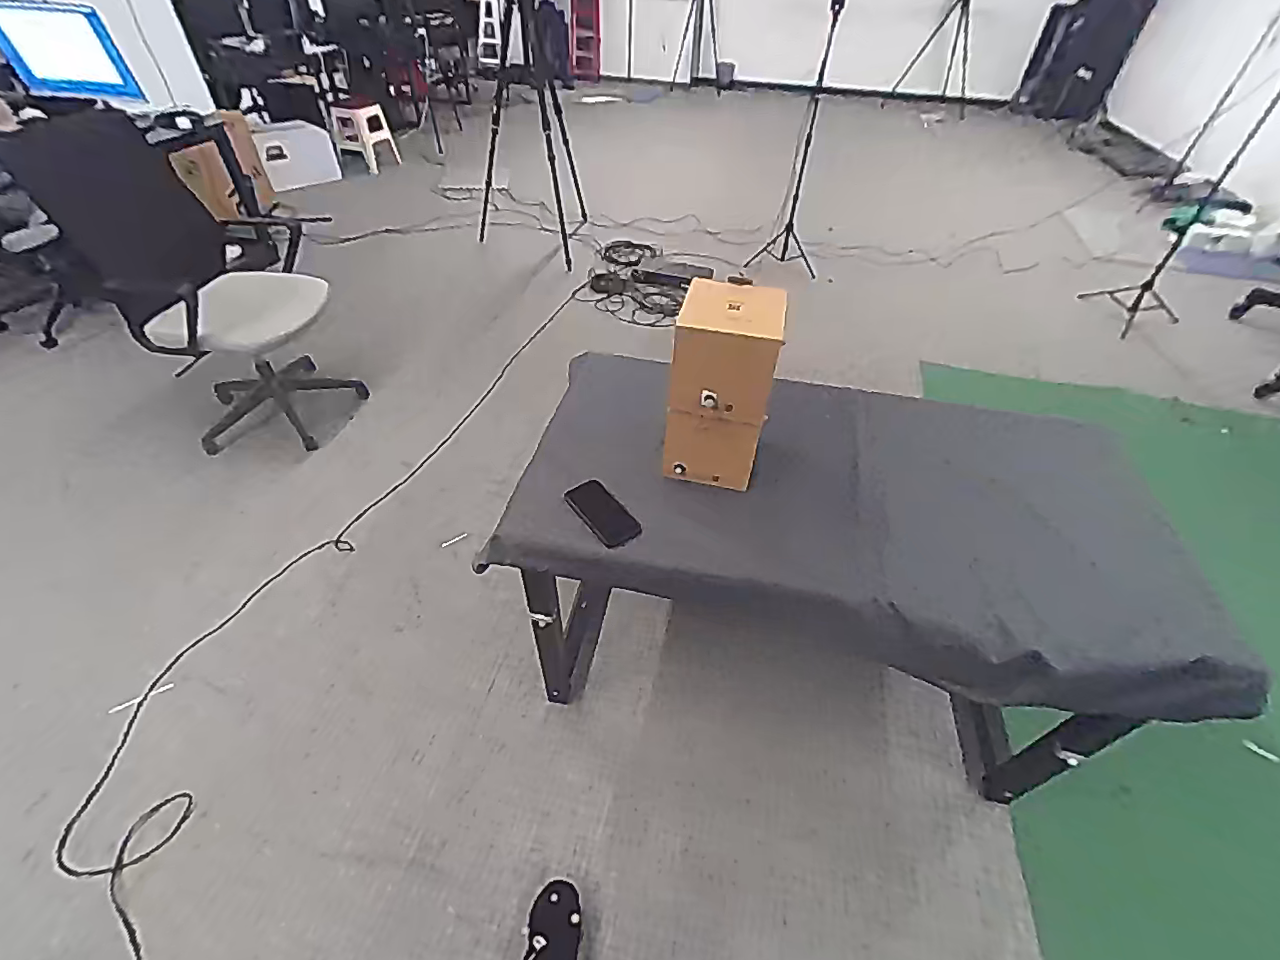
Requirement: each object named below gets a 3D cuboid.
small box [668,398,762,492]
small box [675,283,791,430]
[{"bbox_3d":[0.151,-0.101,1.047,0.168,0.176,0.179,11,44,9],"label":"small box"},{"bbox_3d":[0.156,-0.213,0.930,0.168,0.176,0.179,10,46,9],"label":"small box"}]
